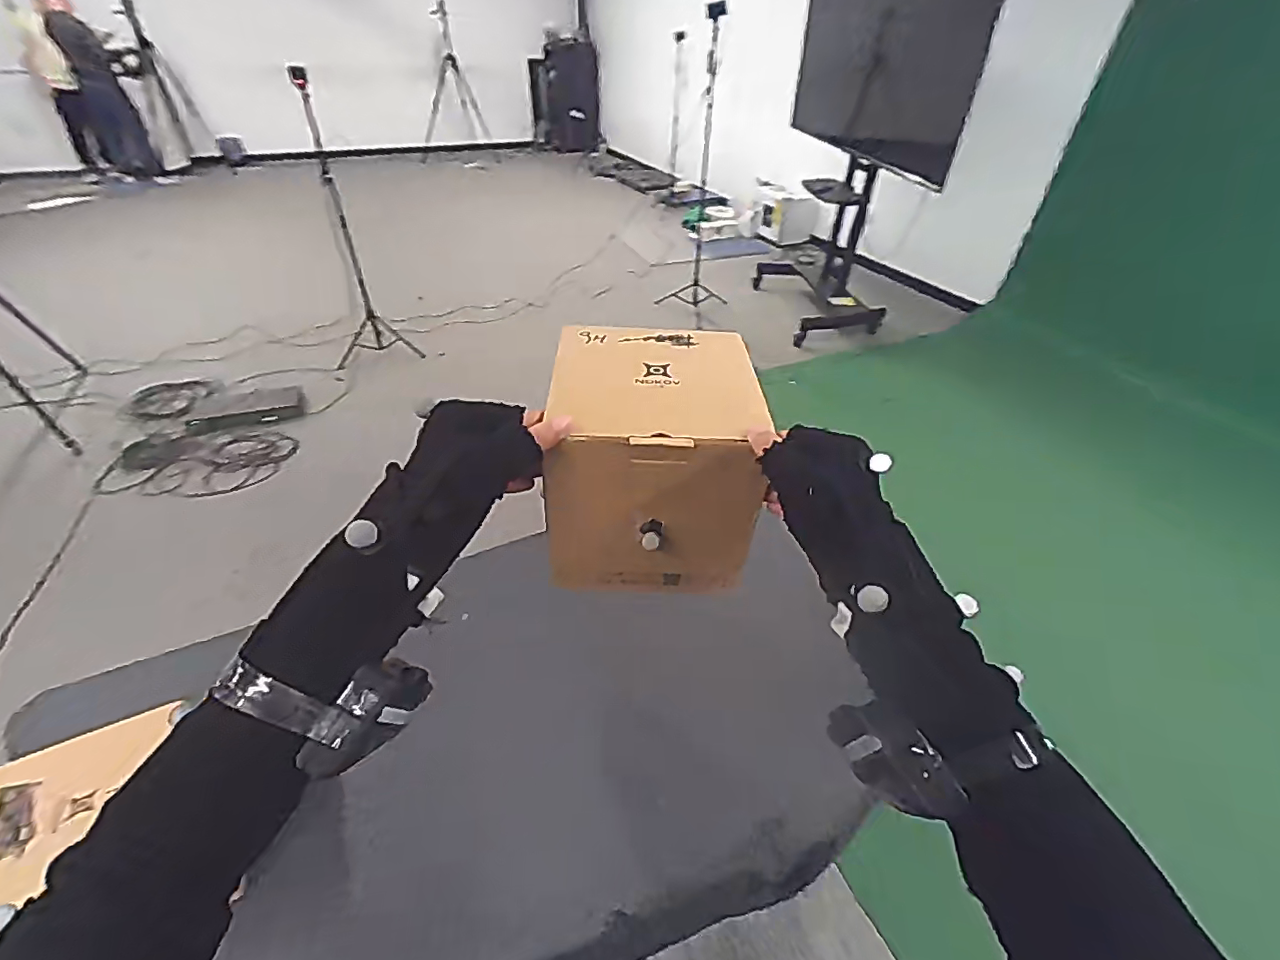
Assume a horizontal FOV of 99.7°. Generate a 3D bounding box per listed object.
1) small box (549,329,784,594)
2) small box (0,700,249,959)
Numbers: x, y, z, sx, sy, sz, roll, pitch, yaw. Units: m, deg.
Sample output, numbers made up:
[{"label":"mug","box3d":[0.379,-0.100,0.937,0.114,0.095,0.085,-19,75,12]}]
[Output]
[{"label":"small box","box3d":[0.017,-0.016,0.482,0.168,0.176,0.179,3,41,-2]},{"label":"small box","box3d":[-0.558,0.382,0.581,0.179,0.176,0.168,-17,44,-24]}]
